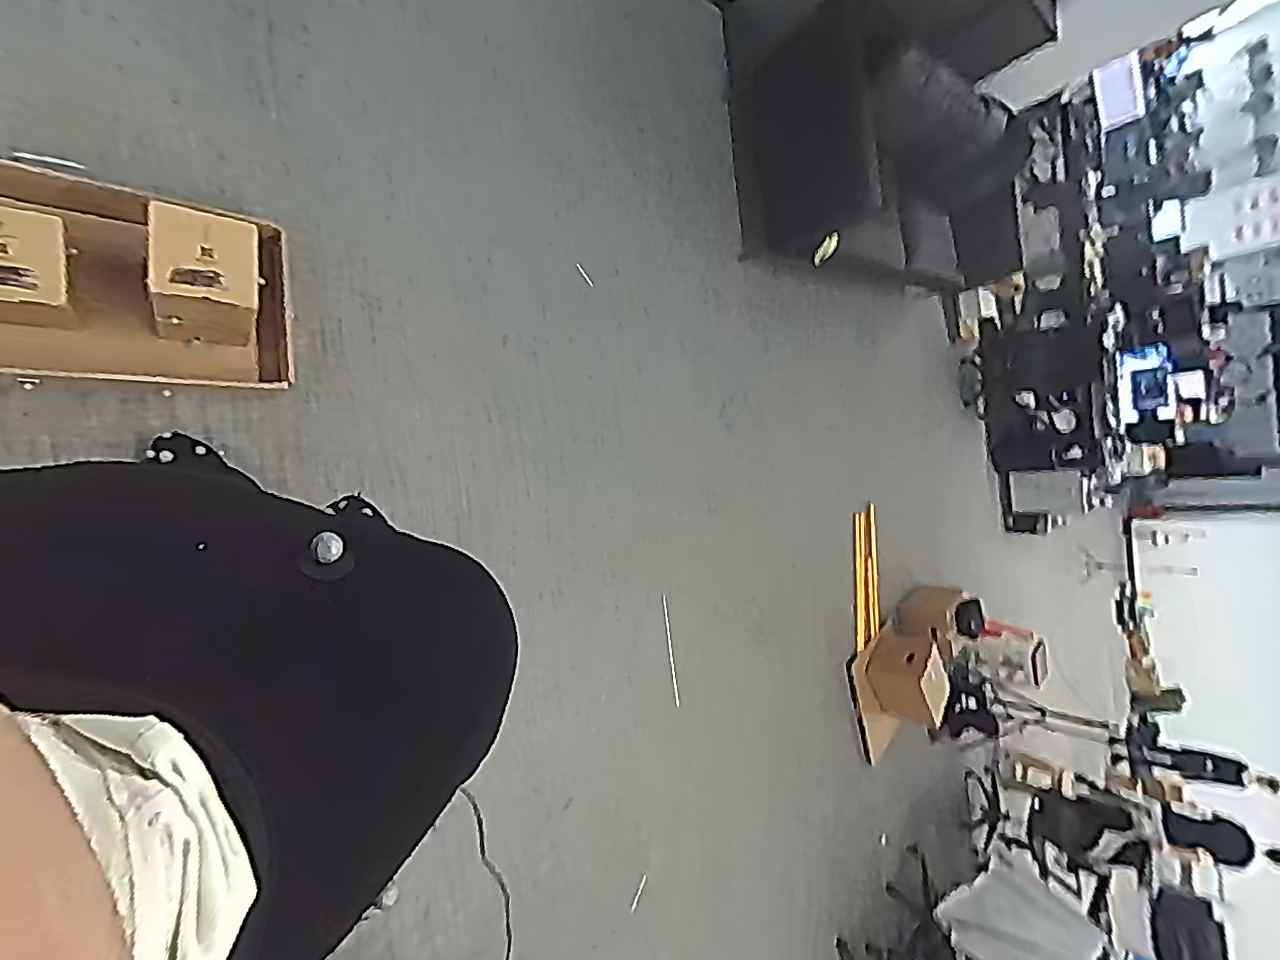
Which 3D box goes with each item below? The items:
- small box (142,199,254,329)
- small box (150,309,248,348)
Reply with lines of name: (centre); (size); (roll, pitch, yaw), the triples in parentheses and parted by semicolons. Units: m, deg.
small box: (-0.885, -0.420, 1.089); (0.168, 0.176, 0.179); (0, 85, -40)
small box: (-0.991, -0.411, 1.214); (0.168, 0.176, 0.179); (-3, 89, -40)
